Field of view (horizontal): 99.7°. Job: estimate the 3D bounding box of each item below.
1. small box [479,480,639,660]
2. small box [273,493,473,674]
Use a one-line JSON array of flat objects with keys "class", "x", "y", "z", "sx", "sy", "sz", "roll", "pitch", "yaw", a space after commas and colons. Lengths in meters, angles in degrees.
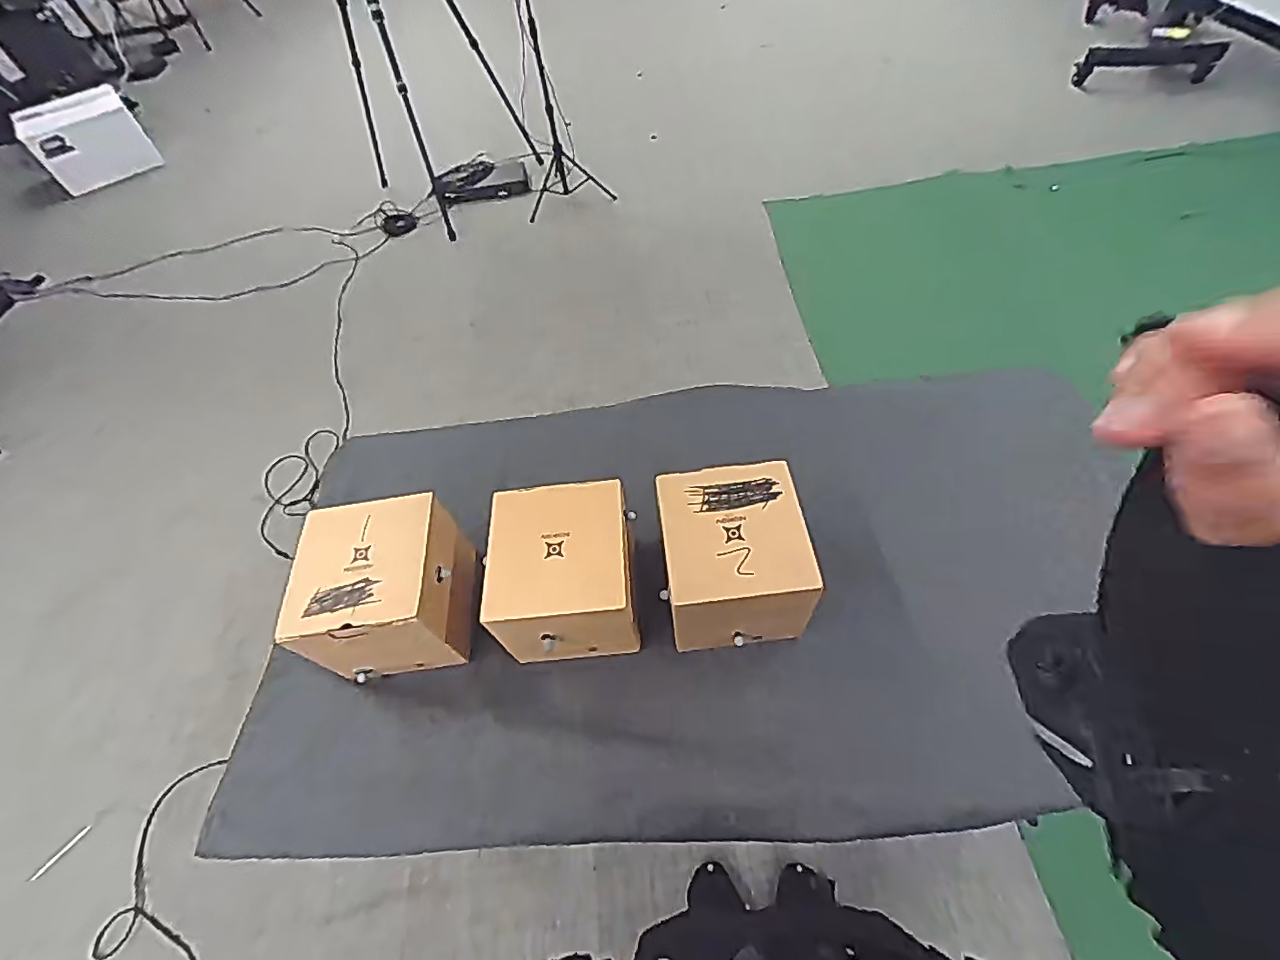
[{"class": "small box", "x": -0.094, "y": 0.124, "z": 0.700, "sx": 0.168, "sy": 0.176, "sz": 0.179, "roll": -6, "pitch": 54, "yaw": 2}, {"class": "small box", "x": -0.329, "y": 0.144, "z": 0.710, "sx": 0.168, "sy": 0.176, "sz": 0.179, "roll": -9, "pitch": 54, "yaw": 0}]
